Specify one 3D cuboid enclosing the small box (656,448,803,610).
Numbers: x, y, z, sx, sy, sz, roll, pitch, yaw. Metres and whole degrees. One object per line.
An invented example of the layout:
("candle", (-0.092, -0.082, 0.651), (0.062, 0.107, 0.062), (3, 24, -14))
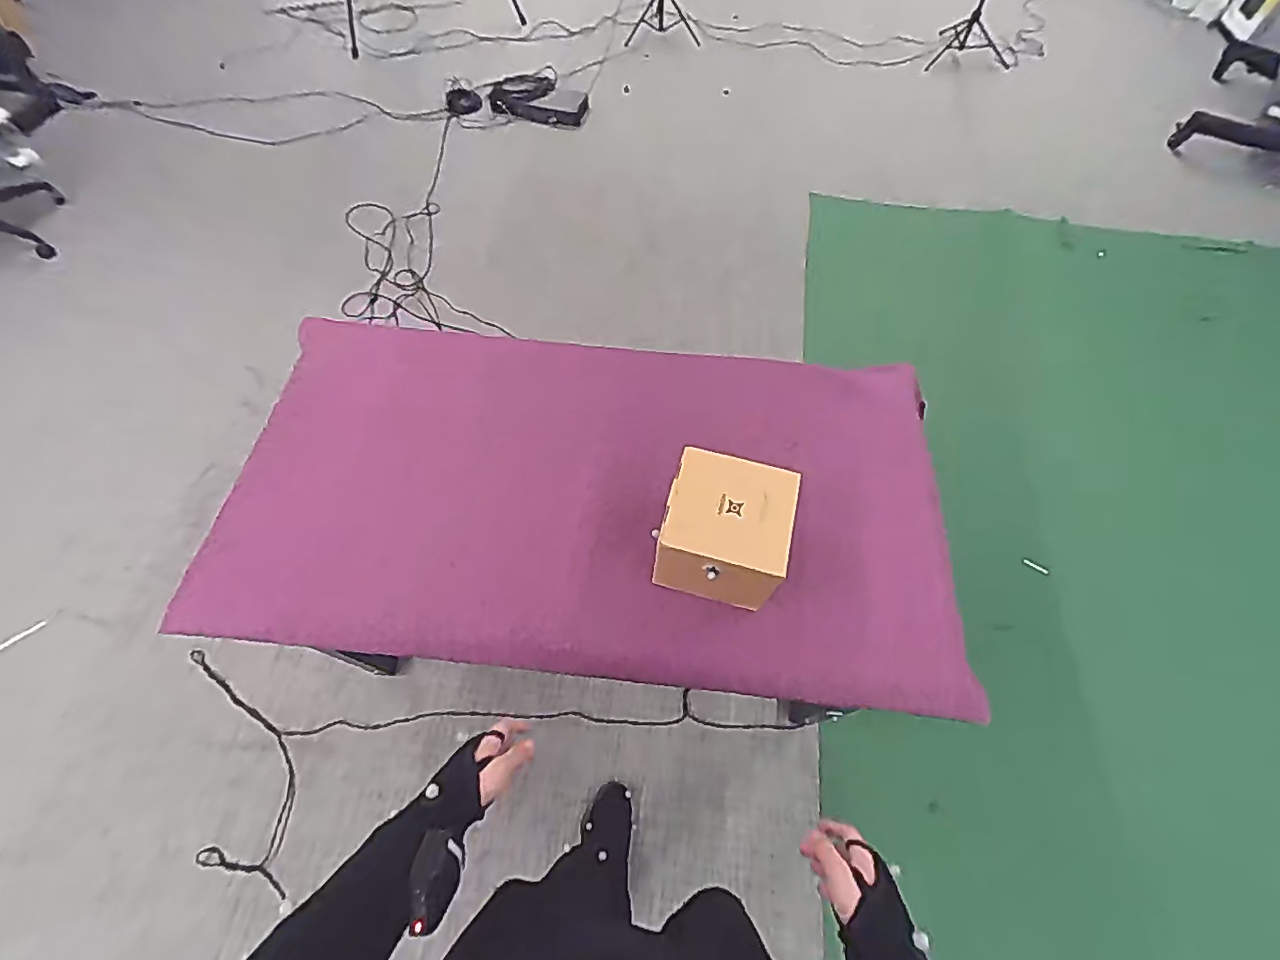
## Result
("small box", (0.127, 0.081, 0.818), (0.179, 0.176, 0.168), (15, 62, 6))
